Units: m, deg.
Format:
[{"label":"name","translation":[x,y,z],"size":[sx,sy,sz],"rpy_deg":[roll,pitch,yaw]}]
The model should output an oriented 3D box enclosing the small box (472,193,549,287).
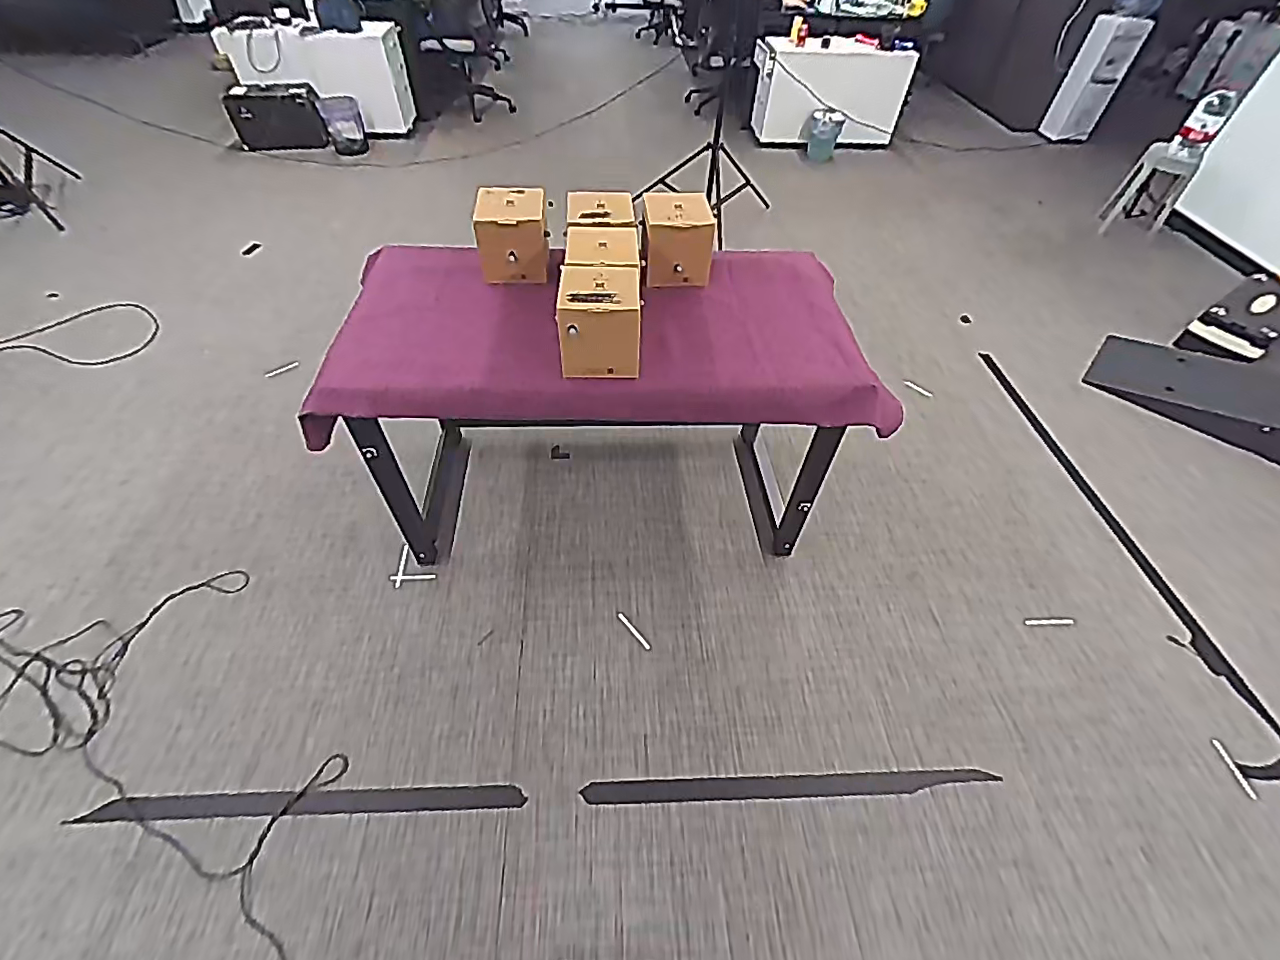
[{"label":"small box","translation":[-0.327,-0.619,1.404],"size":[0.168,0.176,0.179],"rpy_deg":[-2,52,-4]}]
